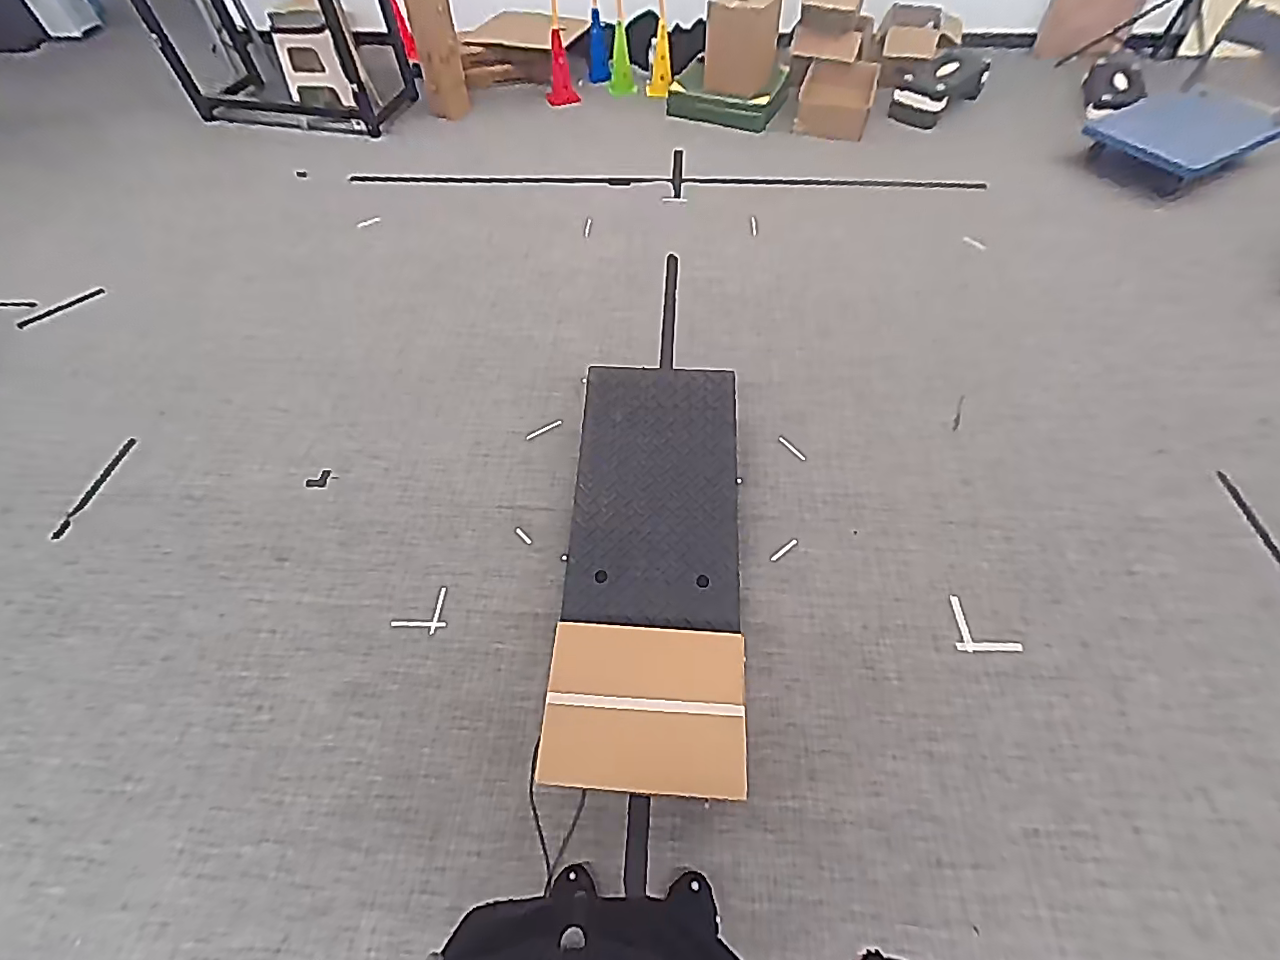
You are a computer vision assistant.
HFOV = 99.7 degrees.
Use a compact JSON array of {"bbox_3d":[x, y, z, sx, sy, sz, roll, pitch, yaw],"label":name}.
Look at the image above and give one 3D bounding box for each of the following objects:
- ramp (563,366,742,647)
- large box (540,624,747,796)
[{"bbox_3d":[0.052,0.082,1.616,0.509,0.206,0.991,1,56,1],"label":"ramp"},{"bbox_3d":[0.018,0.529,1.232,0.408,0.320,0.320,3,59,3],"label":"large box"}]
